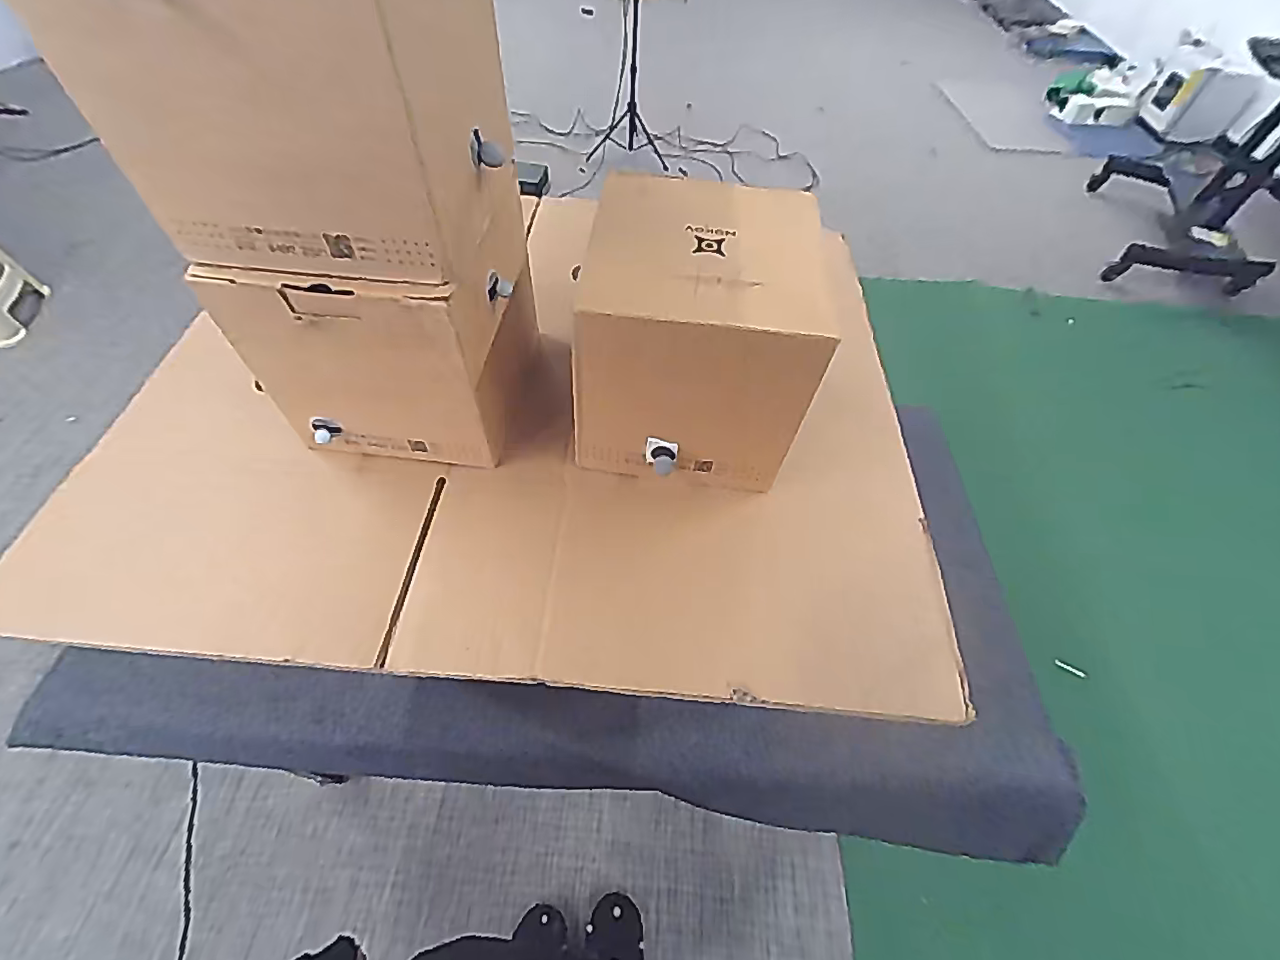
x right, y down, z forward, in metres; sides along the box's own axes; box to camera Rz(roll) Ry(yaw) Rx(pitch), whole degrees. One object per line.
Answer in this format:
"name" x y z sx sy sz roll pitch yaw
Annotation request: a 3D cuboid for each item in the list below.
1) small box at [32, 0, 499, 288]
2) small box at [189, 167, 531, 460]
"small box" -0.188 -0.240 0.317 0.168 0.176 0.179 5 54 0
"small box" -0.193 -0.135 0.443 0.168 0.176 0.179 6 54 1
